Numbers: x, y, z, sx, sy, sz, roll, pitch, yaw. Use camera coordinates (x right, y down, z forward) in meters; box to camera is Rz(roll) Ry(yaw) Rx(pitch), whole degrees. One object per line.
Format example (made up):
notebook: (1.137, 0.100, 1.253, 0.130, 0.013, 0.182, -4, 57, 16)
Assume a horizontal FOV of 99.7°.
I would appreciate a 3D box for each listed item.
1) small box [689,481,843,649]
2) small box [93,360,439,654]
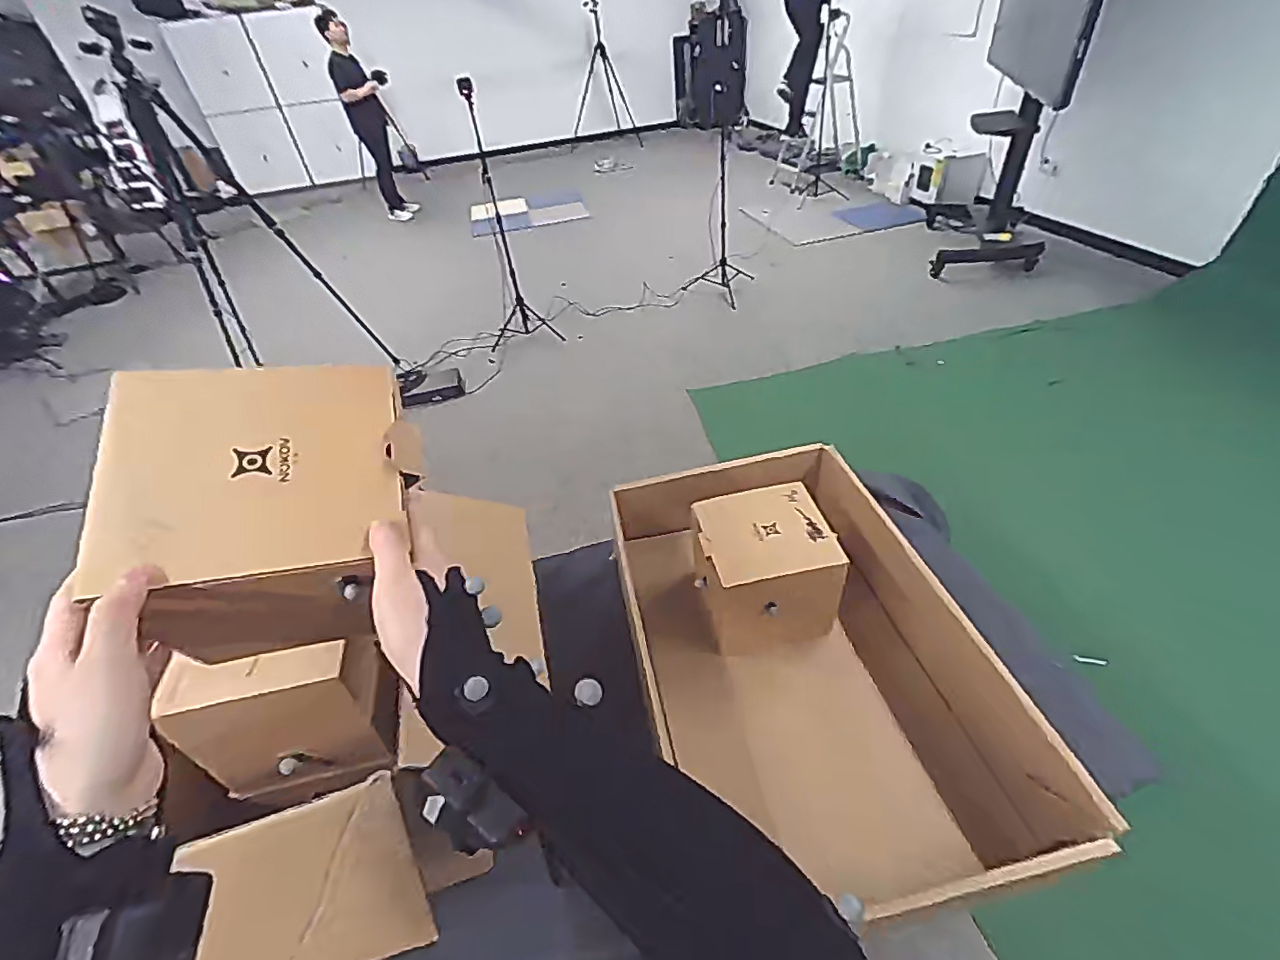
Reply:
small box: (0.182, 0.131, 0.816, 0.179, 0.176, 0.168, -12, 43, -3)
small box: (-0.264, 0.025, 0.429, 0.179, 0.176, 0.168, -7, 63, -21)
